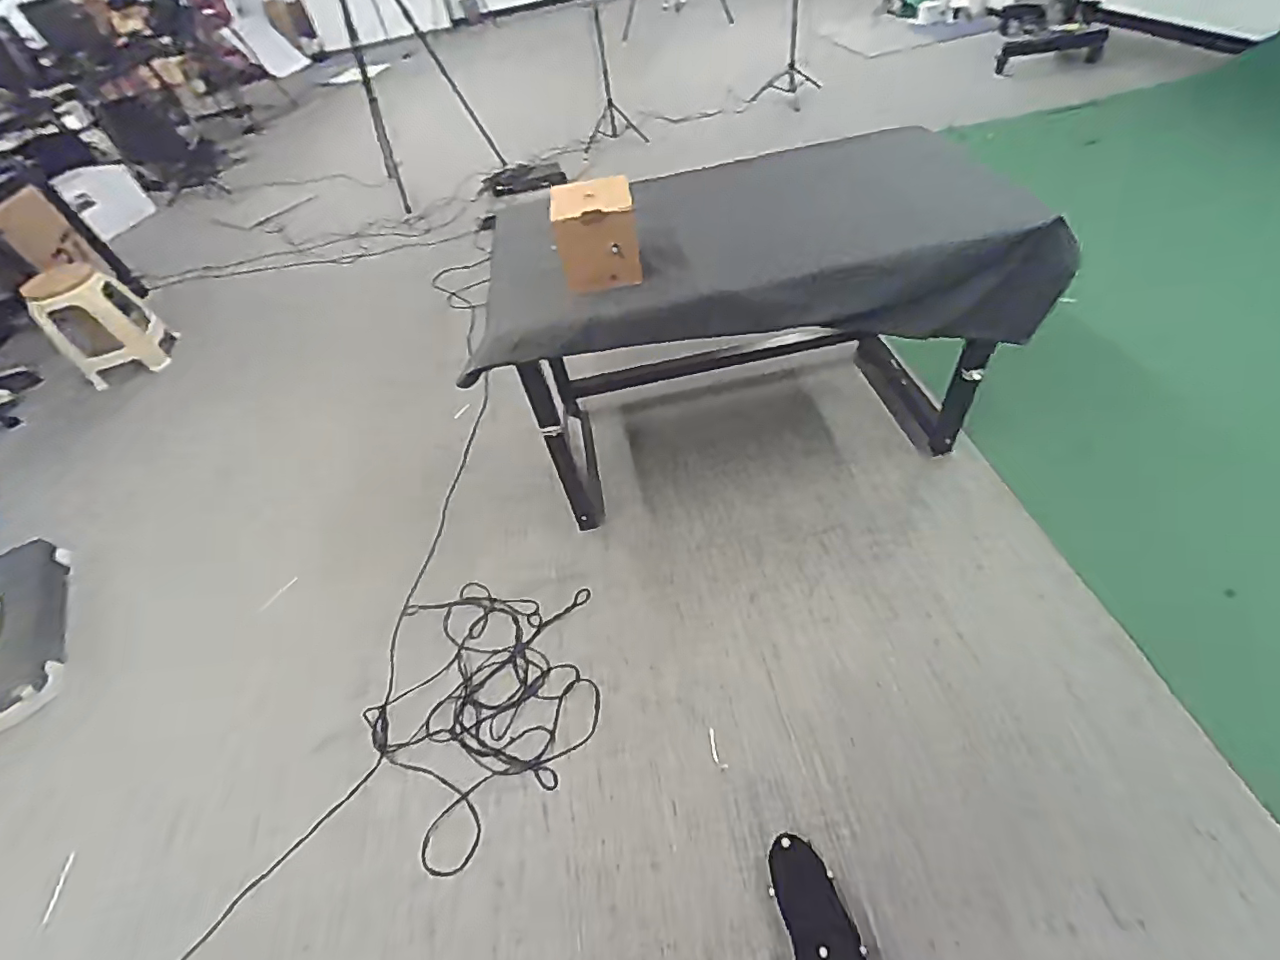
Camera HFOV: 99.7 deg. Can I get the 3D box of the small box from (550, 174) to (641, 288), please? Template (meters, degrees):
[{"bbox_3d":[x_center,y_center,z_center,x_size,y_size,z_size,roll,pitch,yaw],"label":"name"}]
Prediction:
[{"bbox_3d":[-0.092,-0.529,1.165,0.168,0.176,0.179,-8,47,1],"label":"small box"}]
